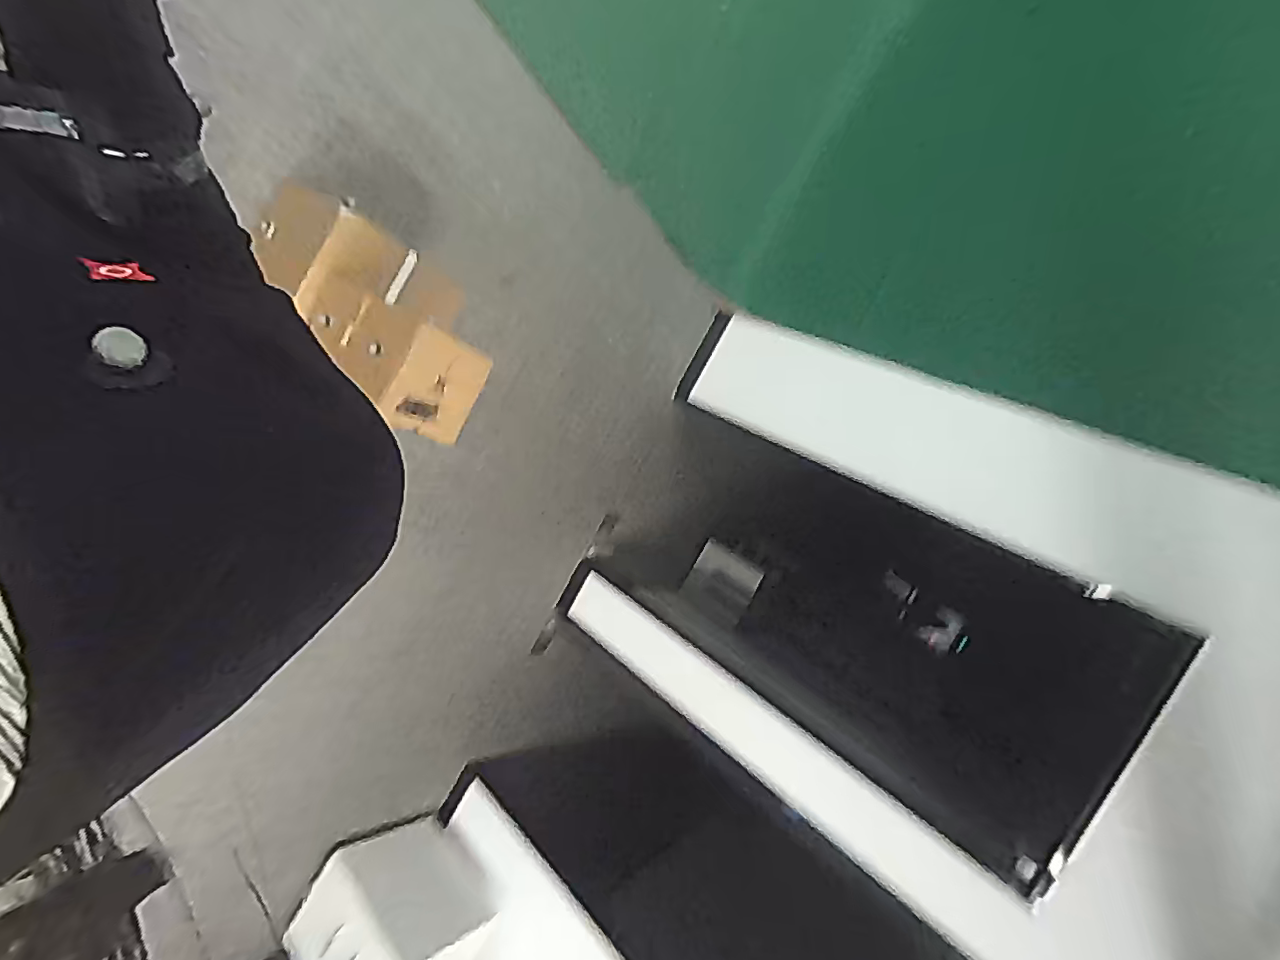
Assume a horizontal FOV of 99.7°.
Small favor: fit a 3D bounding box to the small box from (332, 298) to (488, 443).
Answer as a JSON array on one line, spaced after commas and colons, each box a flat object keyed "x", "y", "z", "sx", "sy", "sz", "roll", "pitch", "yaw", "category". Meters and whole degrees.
[{"x": -0.418, "y": -0.196, "z": 0.974, "sx": 0.179, "sy": 0.176, "sz": 0.168, "roll": -61, "pitch": 150, "yaw": 2, "category": "small box"}]

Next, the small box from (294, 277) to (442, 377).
[{"x": -0.535, "y": -0.275, "z": 1.058, "sx": 0.179, "sy": 0.176, "sz": 0.168, "roll": 20, "pitch": 99, "yaw": -58, "category": "small box"}]
